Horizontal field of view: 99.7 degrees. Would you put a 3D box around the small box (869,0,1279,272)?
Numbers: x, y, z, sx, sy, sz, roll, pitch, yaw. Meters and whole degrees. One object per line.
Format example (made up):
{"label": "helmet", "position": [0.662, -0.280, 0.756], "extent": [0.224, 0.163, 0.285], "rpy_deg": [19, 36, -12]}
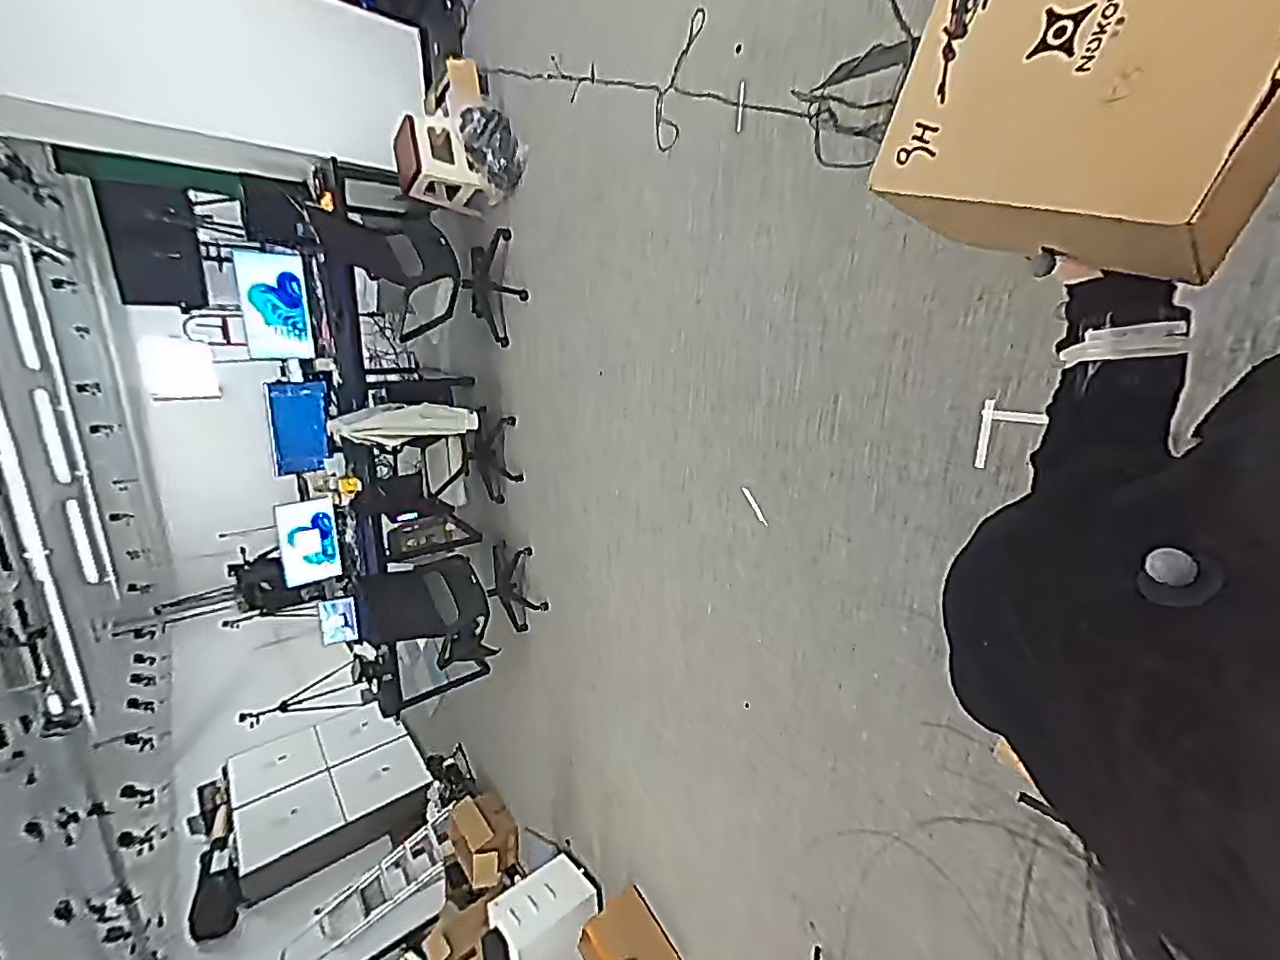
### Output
{"label": "small box", "position": [0.286, -0.237, 0.330], "extent": [0.179, 0.176, 0.168], "rpy_deg": [36, 120, 39]}
